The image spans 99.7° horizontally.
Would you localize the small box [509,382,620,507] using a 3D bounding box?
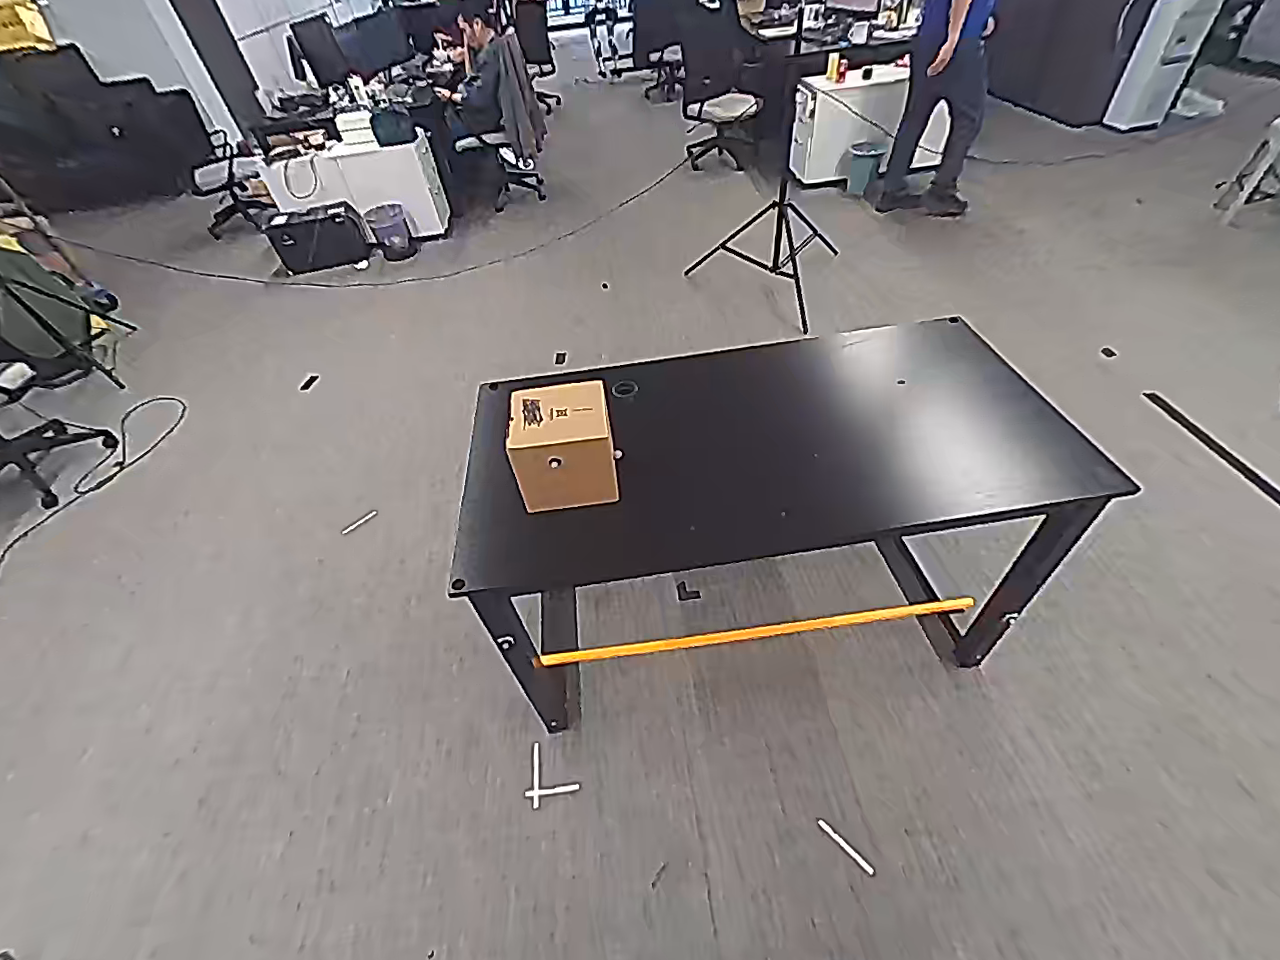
[{"bbox_3d":[-0.139,-0.064,1.031,0.179,0.176,0.168,-7,46,-1],"label":"small box"}]
